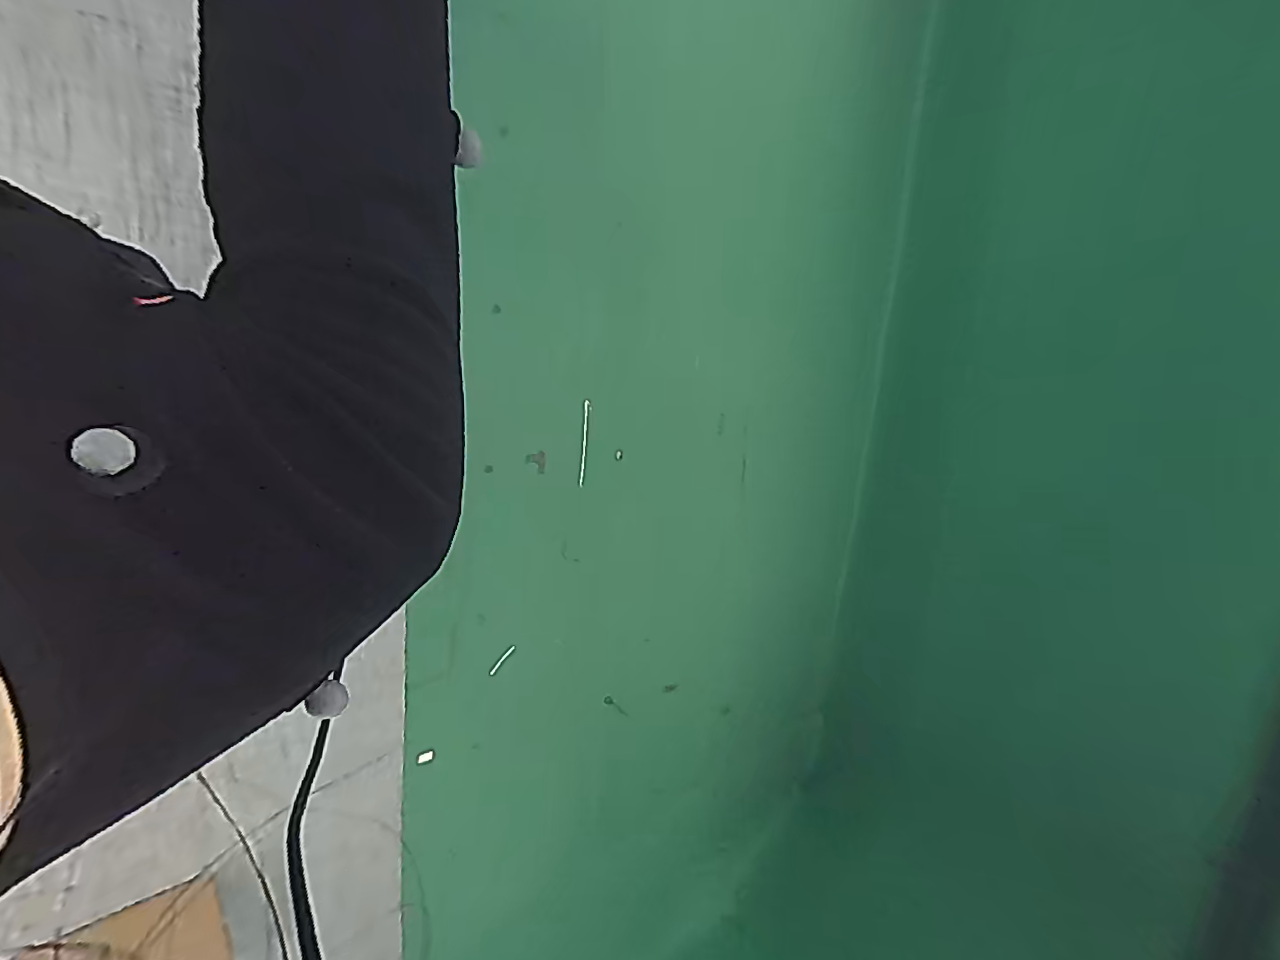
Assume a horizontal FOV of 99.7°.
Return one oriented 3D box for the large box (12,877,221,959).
[{"bbox_3d":[-1.166,1.184,1.150,0.408,0.320,0.320,-5,104,-48],"label":"large box"}]
